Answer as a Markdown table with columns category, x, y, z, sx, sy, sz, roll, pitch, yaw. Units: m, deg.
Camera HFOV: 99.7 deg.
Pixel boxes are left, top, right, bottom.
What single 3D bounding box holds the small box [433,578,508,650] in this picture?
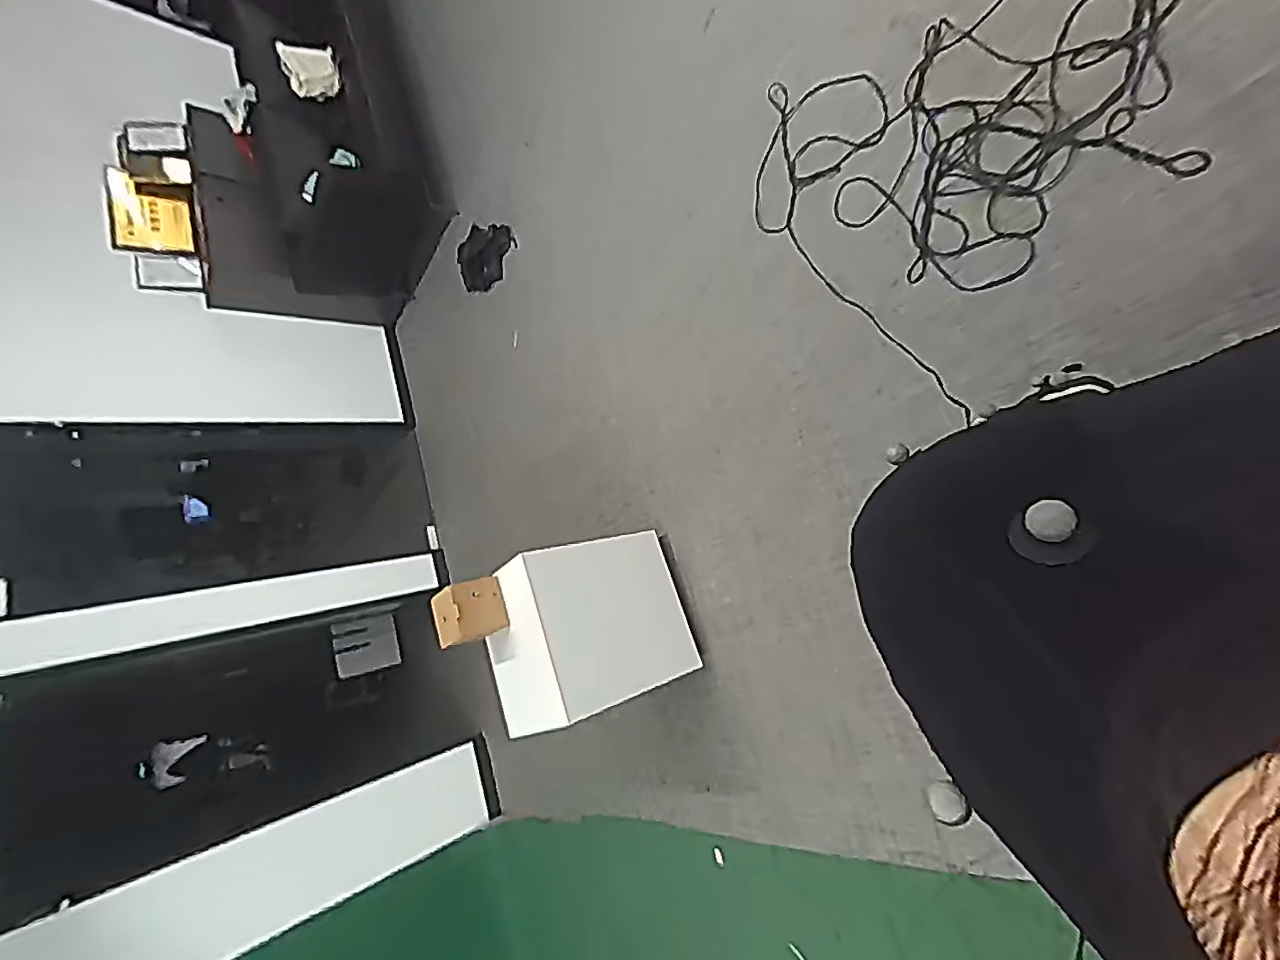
| category | x | y | z | sx | sy | sz | roll | pitch | yaw |
| --- | --- | --- | --- | --- | --- | --- | --- | --- | --- |
| small box | -0.537 | 0.425 | 1.728 | 0.179 | 0.176 | 0.168 | -36 | 67 | 44 |
